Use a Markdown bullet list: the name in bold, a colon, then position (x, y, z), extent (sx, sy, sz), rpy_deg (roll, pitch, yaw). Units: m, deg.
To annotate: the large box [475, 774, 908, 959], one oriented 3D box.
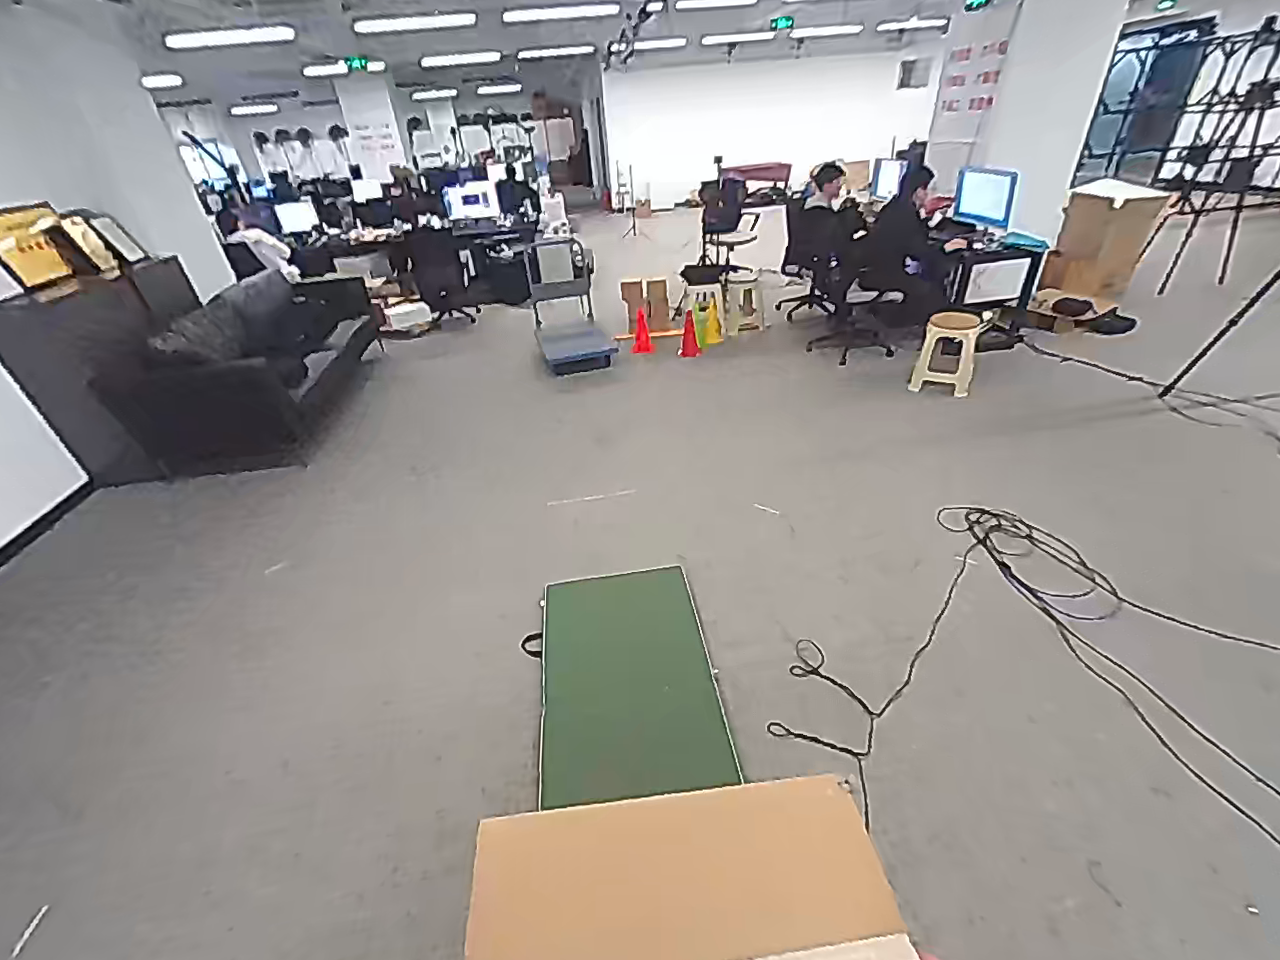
- **large box**: position (0.048, 0.569, 0.576), extent (0.408, 0.320, 0.320), rpy_deg (-4, 39, -6)
